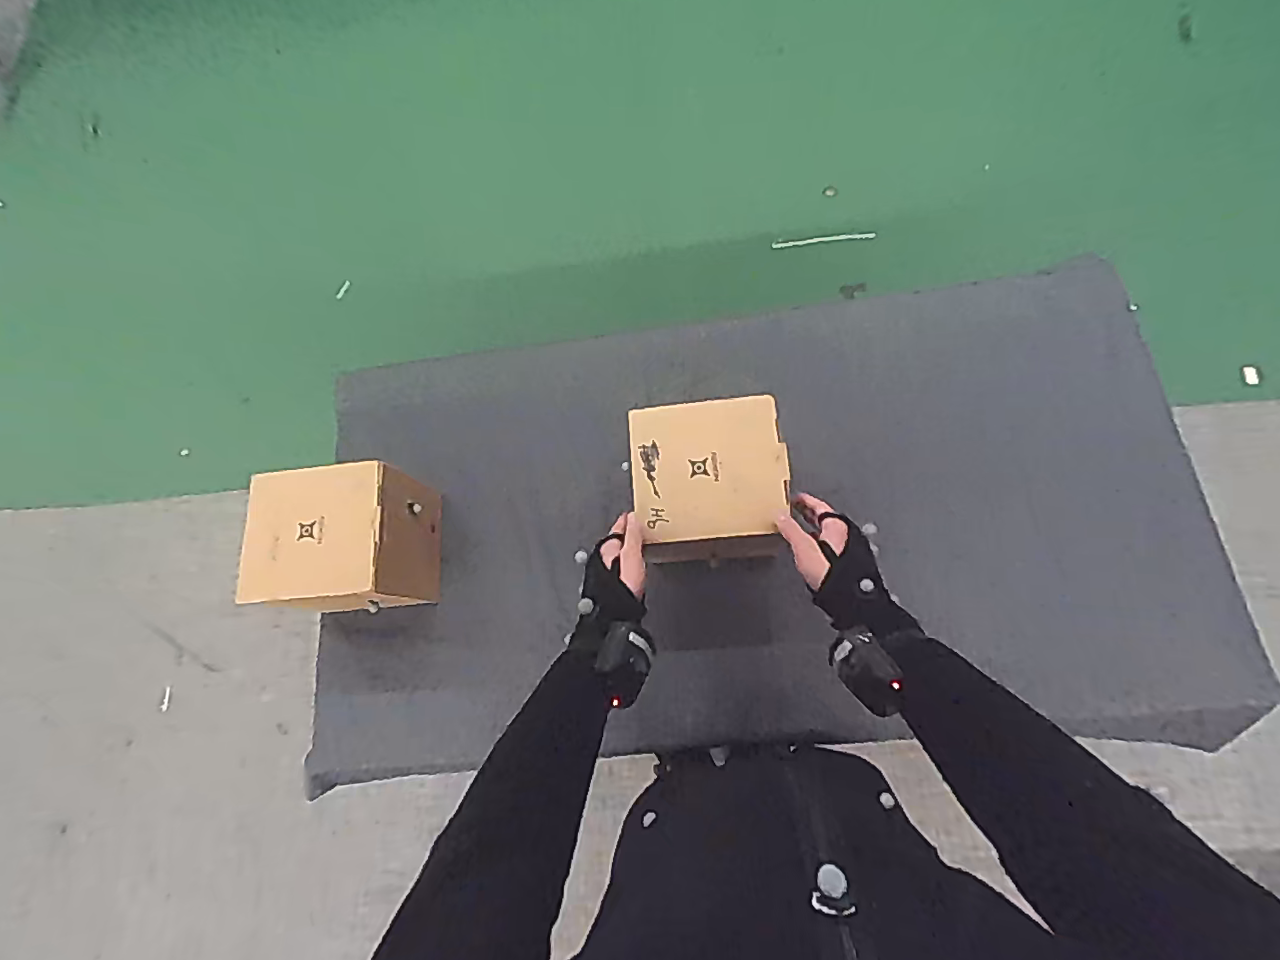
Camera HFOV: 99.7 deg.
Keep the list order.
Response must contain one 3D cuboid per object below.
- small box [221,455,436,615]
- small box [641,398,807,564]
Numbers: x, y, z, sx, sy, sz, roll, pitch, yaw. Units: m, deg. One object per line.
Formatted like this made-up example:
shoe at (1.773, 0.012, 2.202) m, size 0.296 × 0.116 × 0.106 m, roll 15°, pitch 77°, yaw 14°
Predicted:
small box at (-0.382, 0.079, 0.699) m, size 0.179 × 0.176 × 0.168 m, roll -7°, pitch 71°, yaw 3°
small box at (0.094, 0.010, 0.683) m, size 0.179 × 0.176 × 0.168 m, roll -4°, pitch 72°, yaw 2°
